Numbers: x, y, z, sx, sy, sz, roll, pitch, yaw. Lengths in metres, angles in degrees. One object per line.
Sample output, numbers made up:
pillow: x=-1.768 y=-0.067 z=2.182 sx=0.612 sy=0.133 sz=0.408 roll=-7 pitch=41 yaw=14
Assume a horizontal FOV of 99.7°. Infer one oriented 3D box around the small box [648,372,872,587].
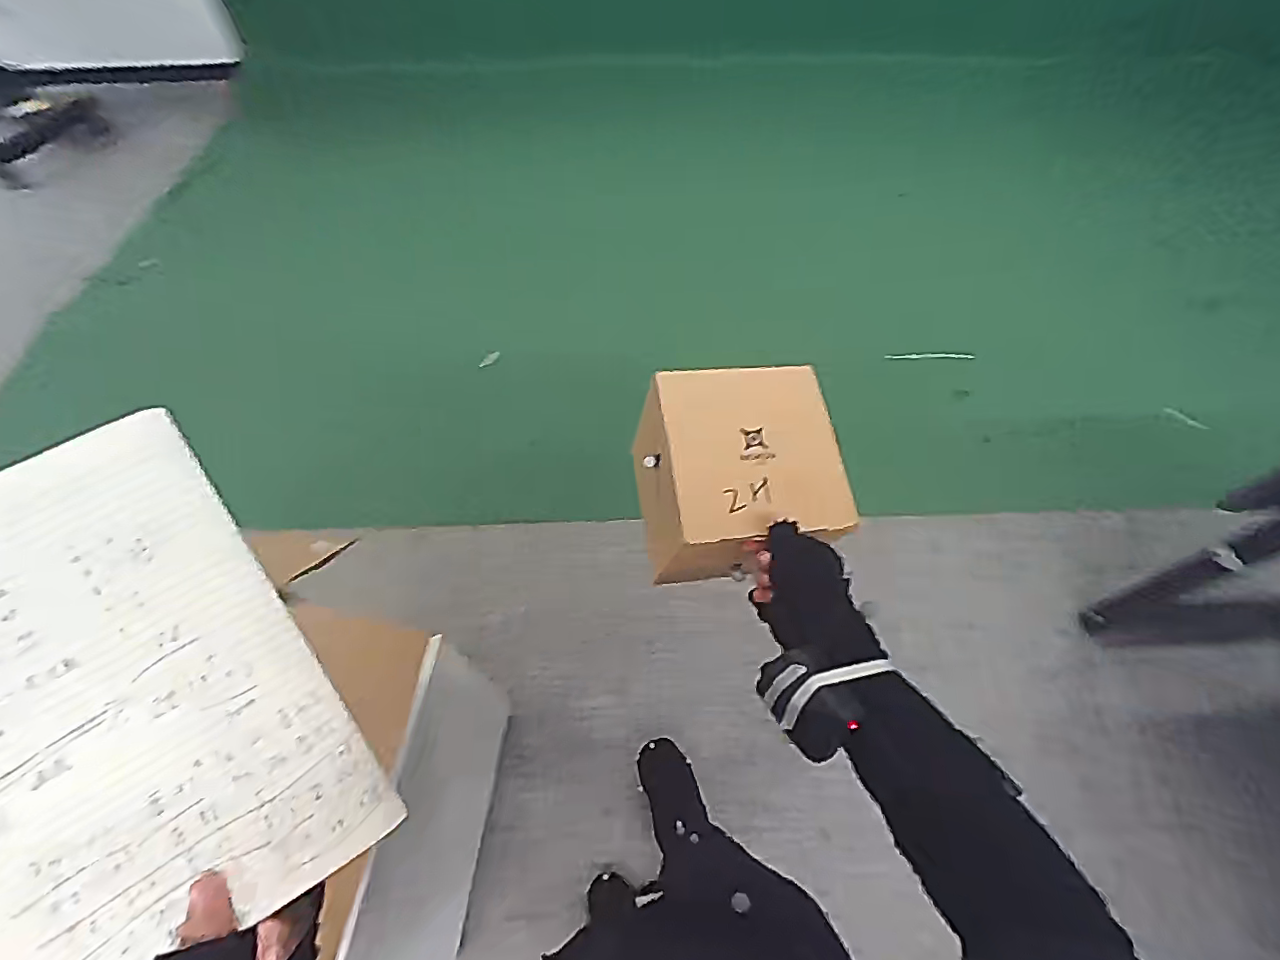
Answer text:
small box: x=0.108 y=0.004 z=0.577 sx=0.168 sy=0.176 sz=0.179 roll=-4 pitch=68 yaw=-10
